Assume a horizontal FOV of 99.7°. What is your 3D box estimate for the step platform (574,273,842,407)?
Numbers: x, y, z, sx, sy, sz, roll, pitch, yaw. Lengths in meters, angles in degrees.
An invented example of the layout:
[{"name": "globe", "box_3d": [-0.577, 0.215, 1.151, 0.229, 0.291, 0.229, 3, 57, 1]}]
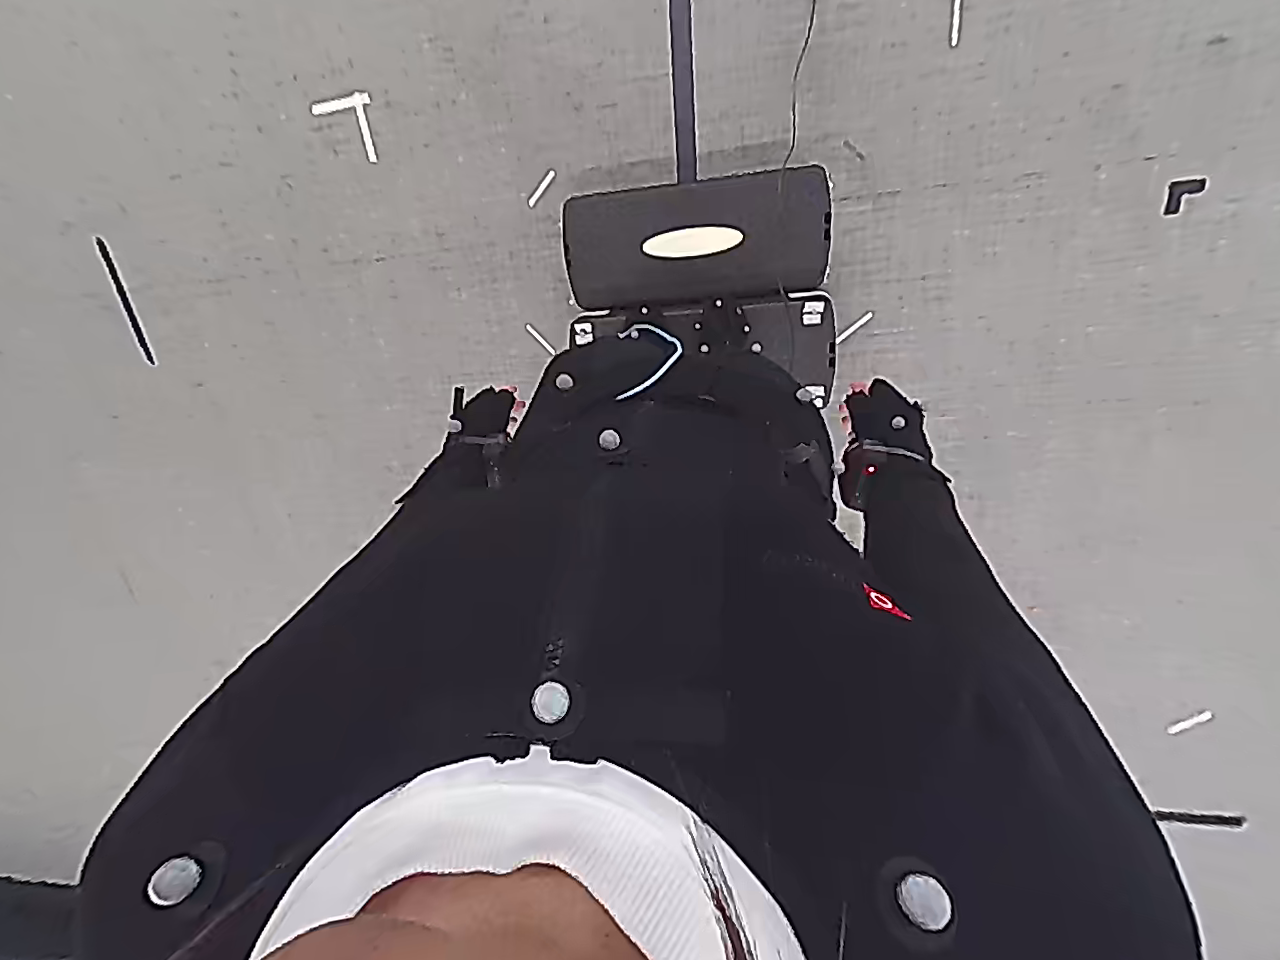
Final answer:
[{"name": "step platform", "box_3d": [0.170, -0.363, 1.428, 0.684, 0.204, 0.286, -2, 111, 12]}]
